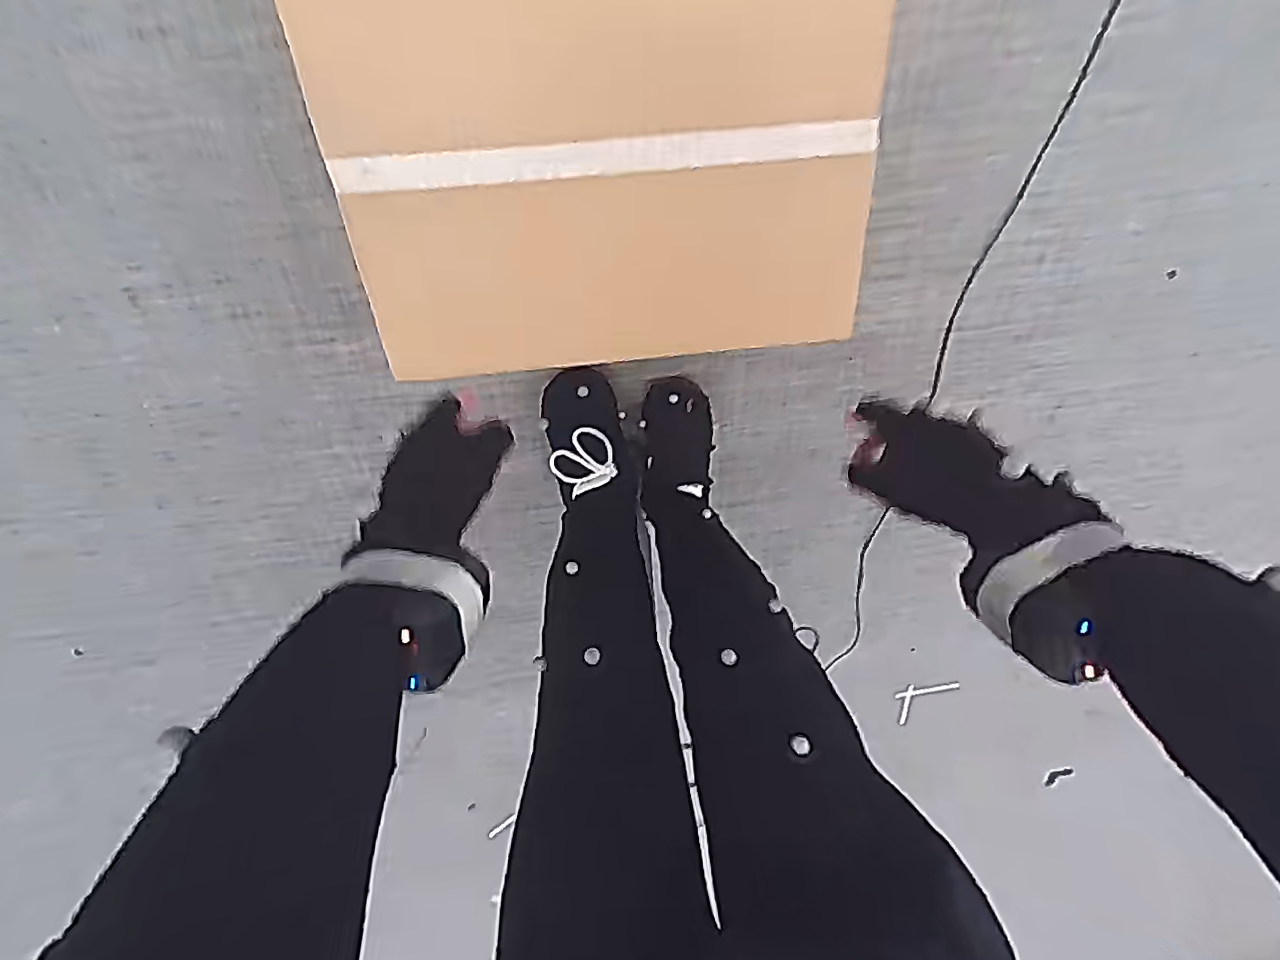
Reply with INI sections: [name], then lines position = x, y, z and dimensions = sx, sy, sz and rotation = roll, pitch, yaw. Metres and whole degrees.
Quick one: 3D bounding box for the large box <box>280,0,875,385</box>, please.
[large box]
position = -0.041, -0.314, 0.538
dimensions = 0.408, 0.320, 0.320
rotation = -7, 120, -4
